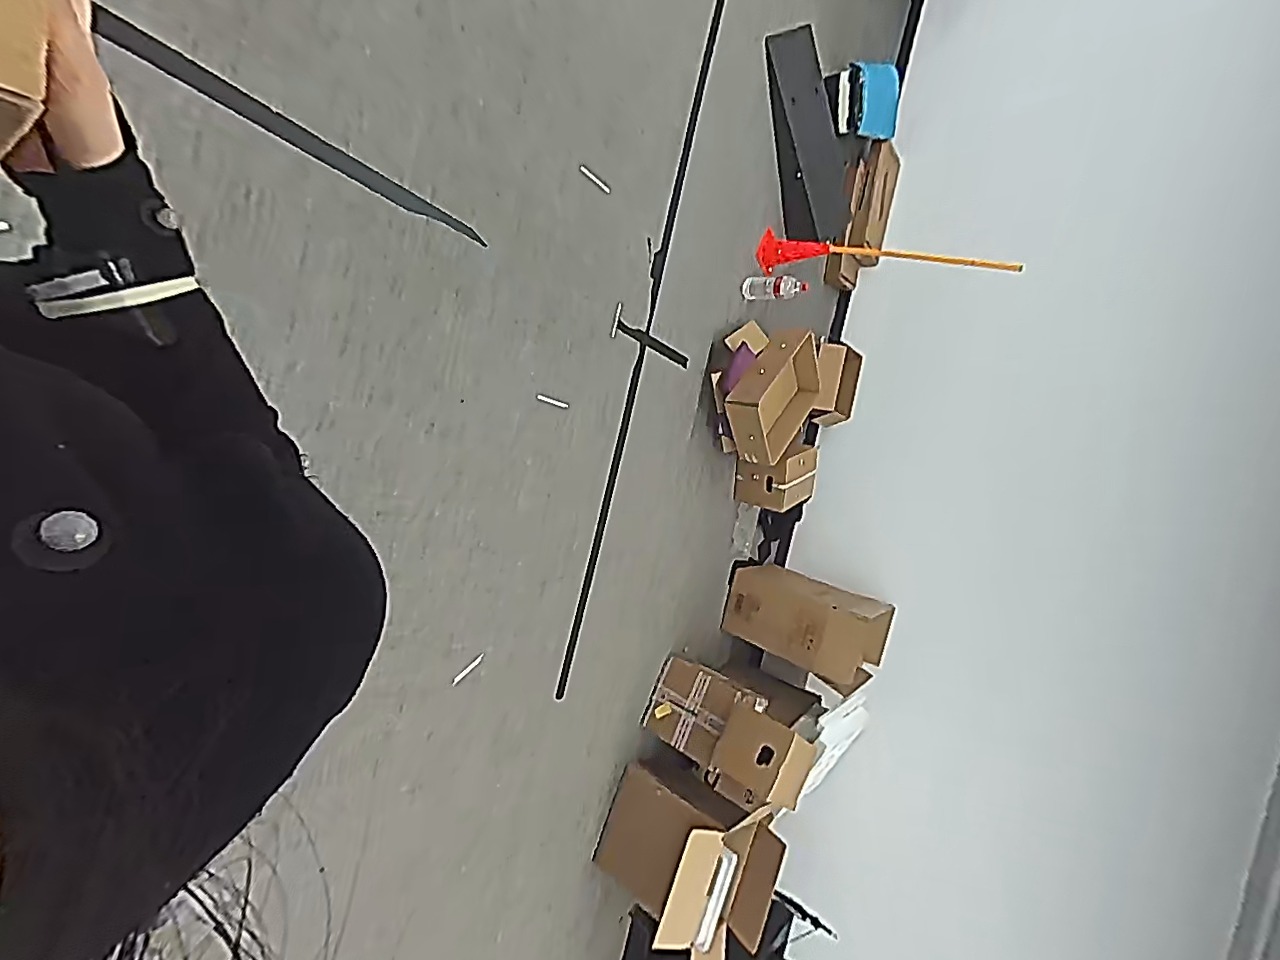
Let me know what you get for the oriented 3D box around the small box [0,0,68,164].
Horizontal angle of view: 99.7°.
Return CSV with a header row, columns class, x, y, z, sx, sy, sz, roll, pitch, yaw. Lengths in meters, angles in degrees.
class,x,y,z,sx,sy,sz,roll,pitch,yaw
small box,-0.338,-0.245,0.196,0.168,0.176,0.179,2,97,-56
